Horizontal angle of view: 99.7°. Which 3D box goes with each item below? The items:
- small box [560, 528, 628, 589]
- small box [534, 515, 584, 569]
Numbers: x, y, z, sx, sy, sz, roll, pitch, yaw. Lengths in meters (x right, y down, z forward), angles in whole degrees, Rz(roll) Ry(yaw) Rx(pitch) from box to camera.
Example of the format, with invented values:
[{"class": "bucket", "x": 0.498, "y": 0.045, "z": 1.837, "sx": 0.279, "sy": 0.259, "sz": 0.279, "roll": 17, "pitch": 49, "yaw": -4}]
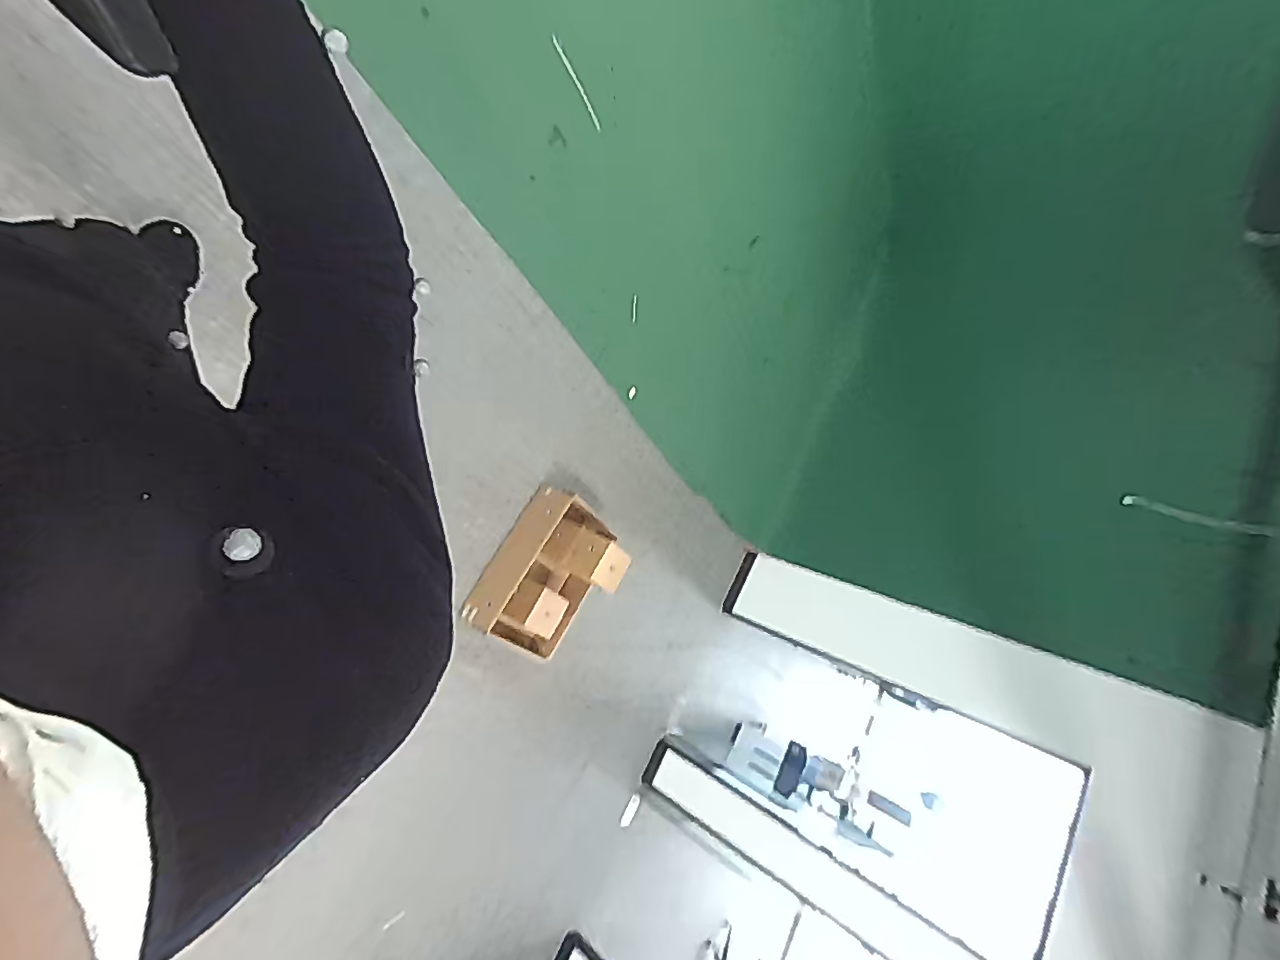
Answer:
[{"class": "small box", "x": -0.184, "y": 0.305, "z": 2.136, "sx": 0.168, "sy": 0.176, "sz": 0.179, "roll": -60, "pitch": 141, "yaw": -15}, {"class": "small box", "x": -0.305, "y": 0.262, "z": 2.236, "sx": 0.168, "sy": 0.176, "sz": 0.179, "roll": -59, "pitch": 142, "yaw": -16}]
